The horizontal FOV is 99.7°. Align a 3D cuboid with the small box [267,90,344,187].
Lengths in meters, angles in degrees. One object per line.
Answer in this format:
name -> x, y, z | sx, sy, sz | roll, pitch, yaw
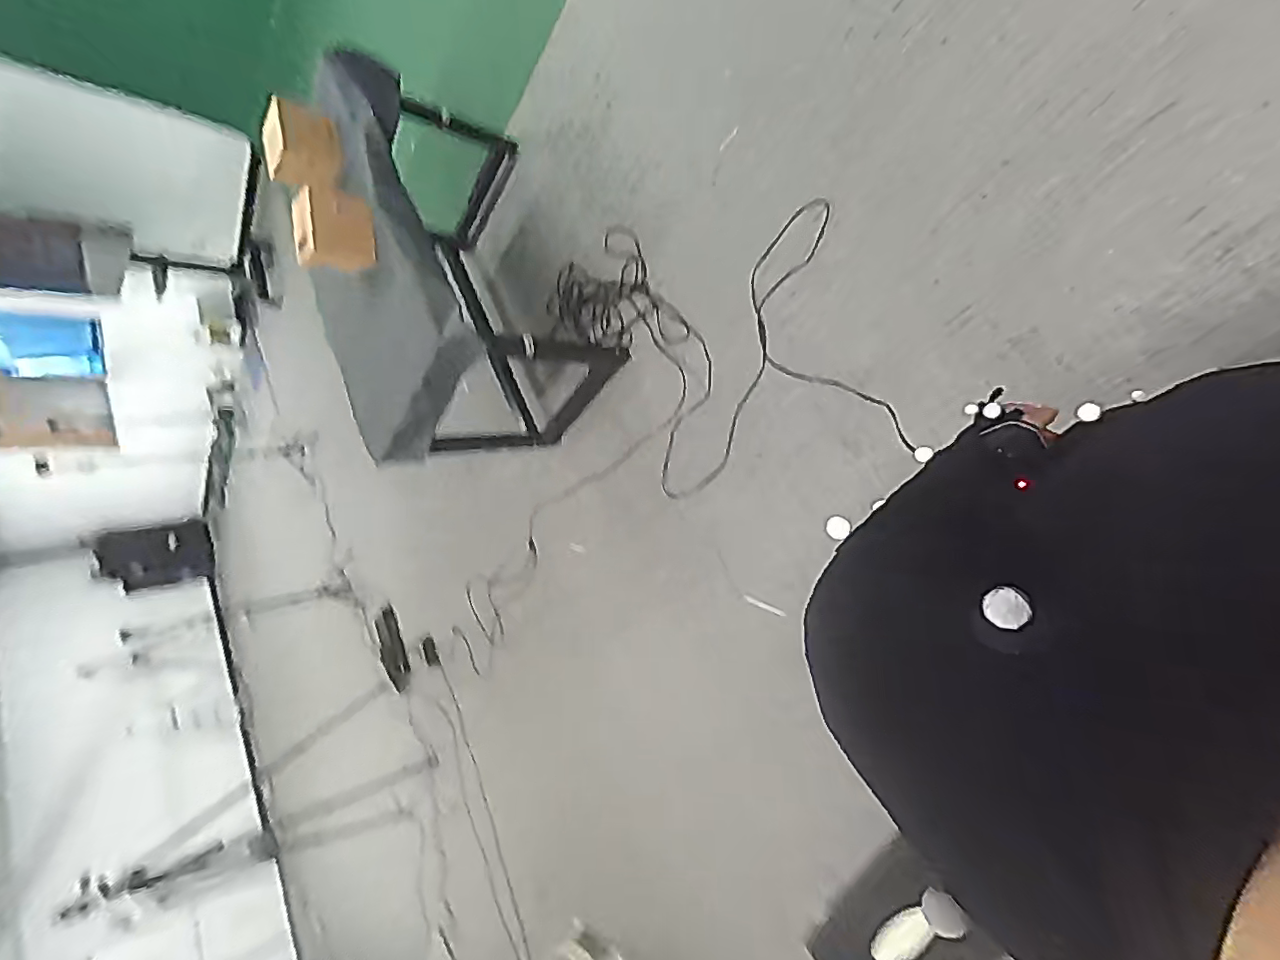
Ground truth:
small box -> -1.053, -1.069, 1.709 | 0.179, 0.176, 0.168 | -17, 82, 45
